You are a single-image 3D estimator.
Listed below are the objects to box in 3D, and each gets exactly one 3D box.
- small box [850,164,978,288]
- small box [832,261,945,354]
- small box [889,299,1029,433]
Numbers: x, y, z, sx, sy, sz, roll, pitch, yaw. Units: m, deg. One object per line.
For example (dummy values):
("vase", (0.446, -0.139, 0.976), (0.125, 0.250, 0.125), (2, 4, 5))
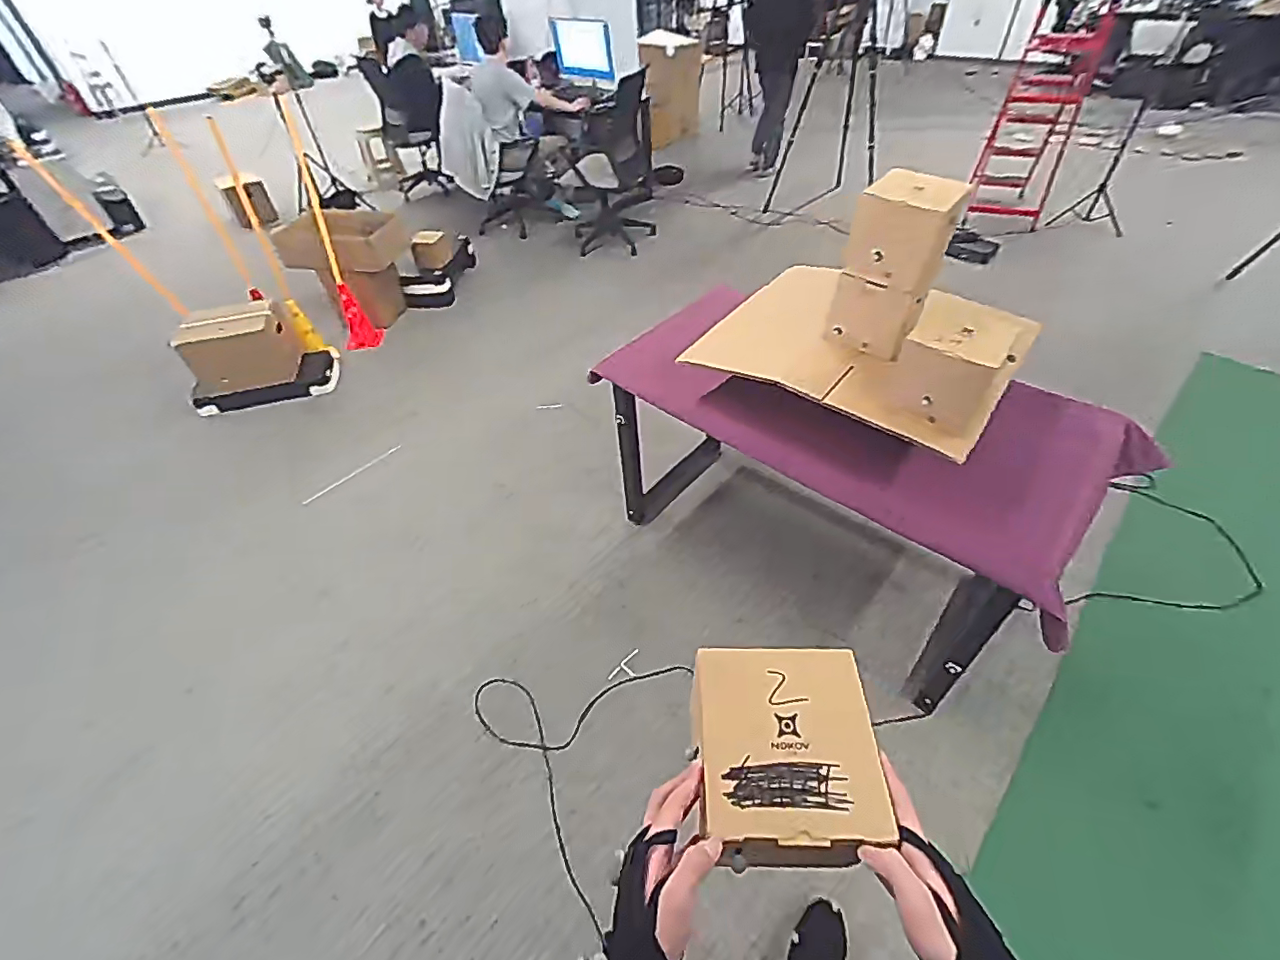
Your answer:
("small box", (0.566, -0.532, 1.137), (0.168, 0.176, 0.179), (30, 56, 25))
("small box", (0.565, -0.418, 1.252), (0.168, 0.176, 0.179), (31, 55, 25))
("small box", (0.625, -0.227, 1.078), (0.168, 0.176, 0.179), (31, 56, 27))
